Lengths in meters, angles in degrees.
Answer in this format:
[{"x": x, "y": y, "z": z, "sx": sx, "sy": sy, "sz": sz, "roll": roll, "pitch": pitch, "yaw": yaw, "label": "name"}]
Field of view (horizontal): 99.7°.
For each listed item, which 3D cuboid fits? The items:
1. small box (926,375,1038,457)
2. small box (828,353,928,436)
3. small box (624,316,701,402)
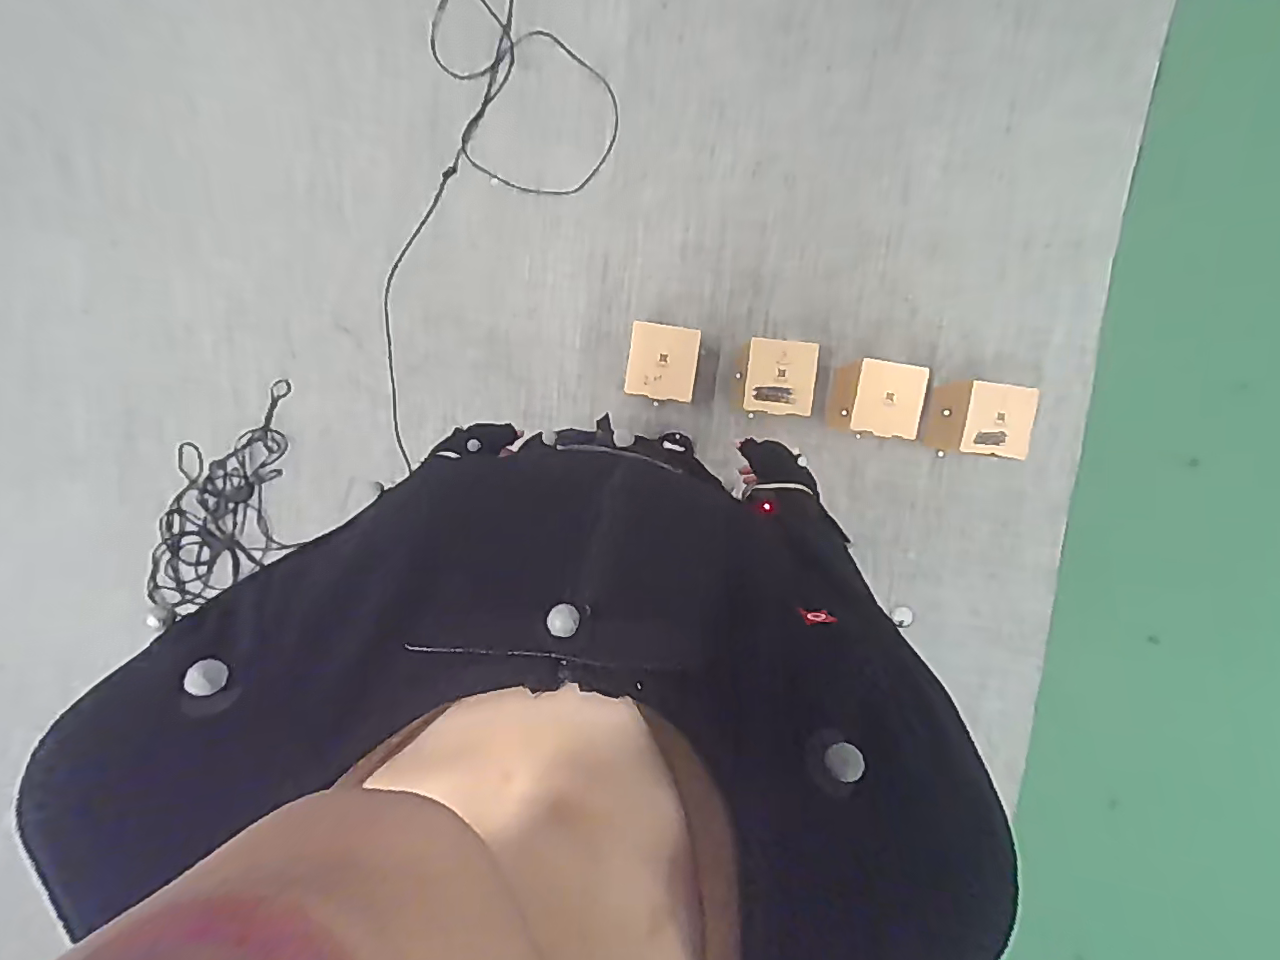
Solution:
[{"x": 0.859, "y": -0.161, "z": 1.378, "sx": 0.168, "sy": 0.176, "sz": 0.179, "roll": 8, "pitch": 95, "yaw": -1, "label": "small box"}, {"x": 0.595, "y": -0.212, "z": 1.374, "sx": 0.168, "sy": 0.176, "sz": 0.179, "roll": 9, "pitch": 96, "yaw": -1, "label": "small box"}, {"x": 0.053, "y": -0.300, "z": 1.366, "sx": 0.168, "sy": 0.176, "sz": 0.179, "roll": 9, "pitch": 96, "yaw": 0, "label": "small box"}]
